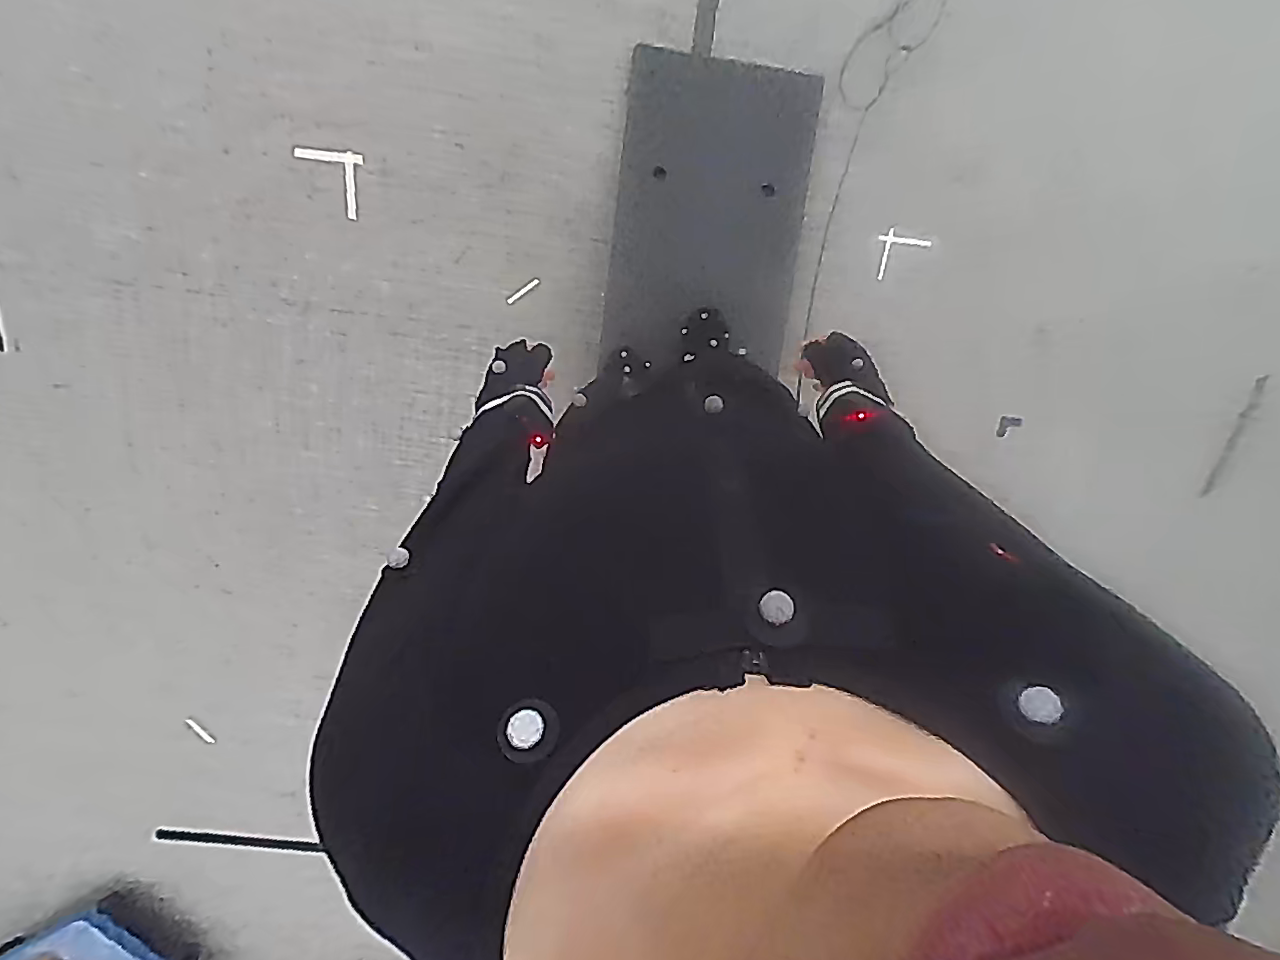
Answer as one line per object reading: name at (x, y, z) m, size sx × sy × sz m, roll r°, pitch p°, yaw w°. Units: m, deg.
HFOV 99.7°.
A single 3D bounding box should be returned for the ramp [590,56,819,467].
ramp at (0.159, -0.550, 1.430) m, size 0.509 × 0.206 × 0.991 m, roll 5°, pitch 107°, yaw -2°
